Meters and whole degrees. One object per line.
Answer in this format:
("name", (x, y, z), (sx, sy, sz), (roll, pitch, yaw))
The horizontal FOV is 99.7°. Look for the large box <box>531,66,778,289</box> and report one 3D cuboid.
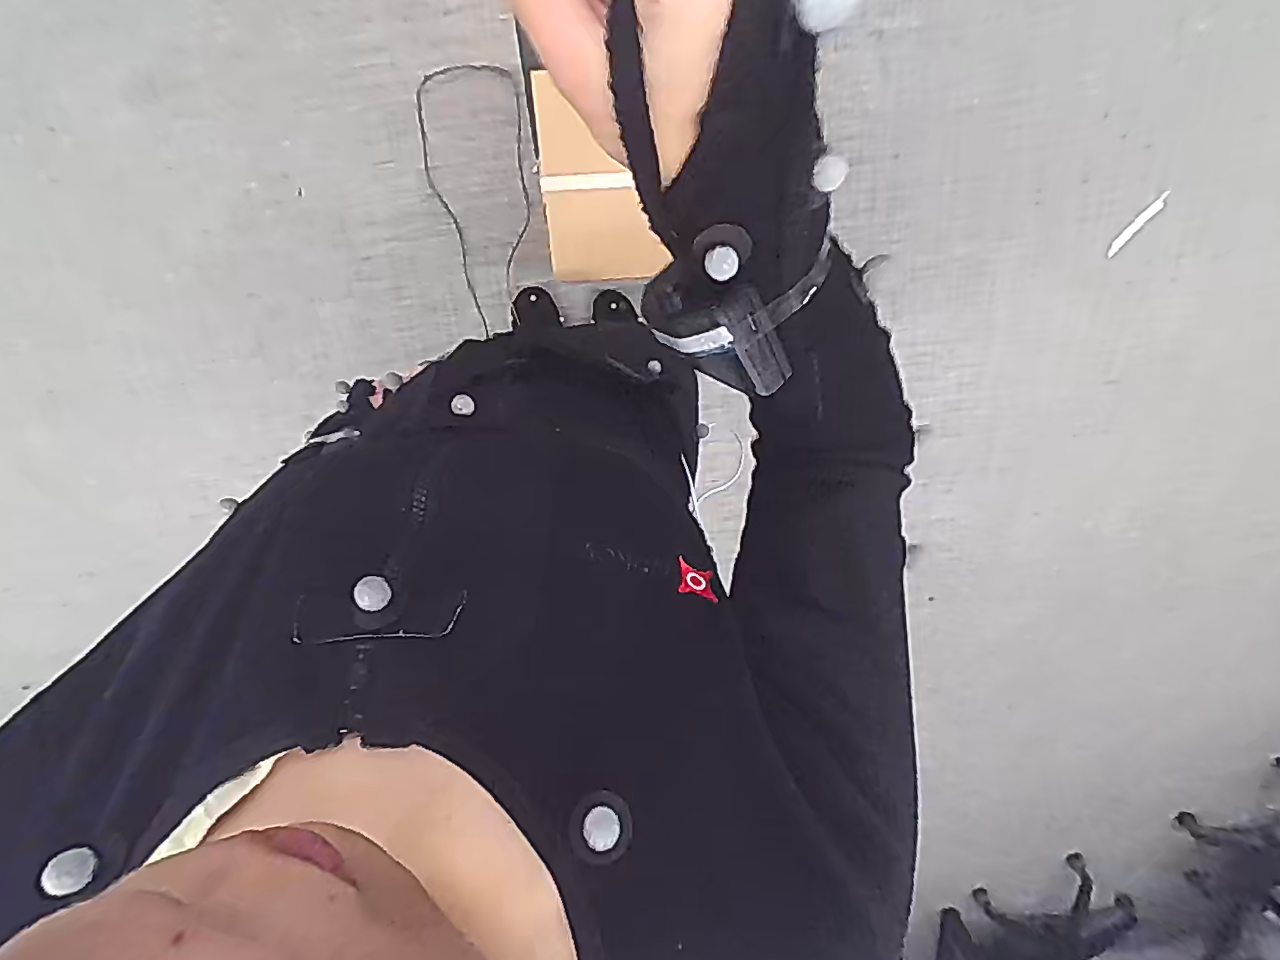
("large box", (0.024, -0.555, 1.050), (0.408, 0.320, 0.320), (-5, 112, -2))
